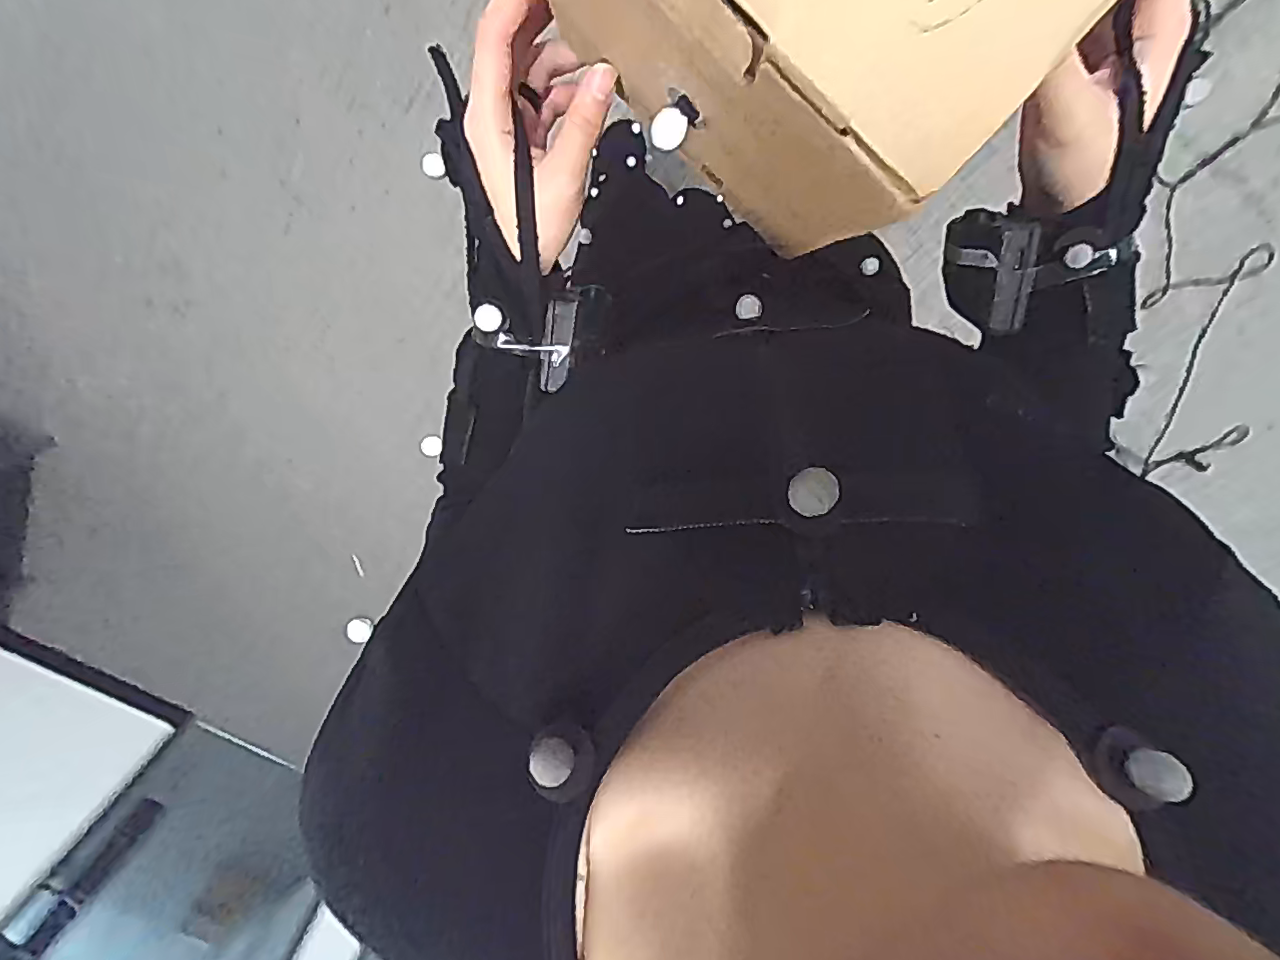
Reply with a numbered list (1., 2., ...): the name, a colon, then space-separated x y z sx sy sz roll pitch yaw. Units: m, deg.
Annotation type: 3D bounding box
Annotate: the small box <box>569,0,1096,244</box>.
1. small box: 0.076 -0.215 0.205 0.168 0.176 0.179 40 106 -10
